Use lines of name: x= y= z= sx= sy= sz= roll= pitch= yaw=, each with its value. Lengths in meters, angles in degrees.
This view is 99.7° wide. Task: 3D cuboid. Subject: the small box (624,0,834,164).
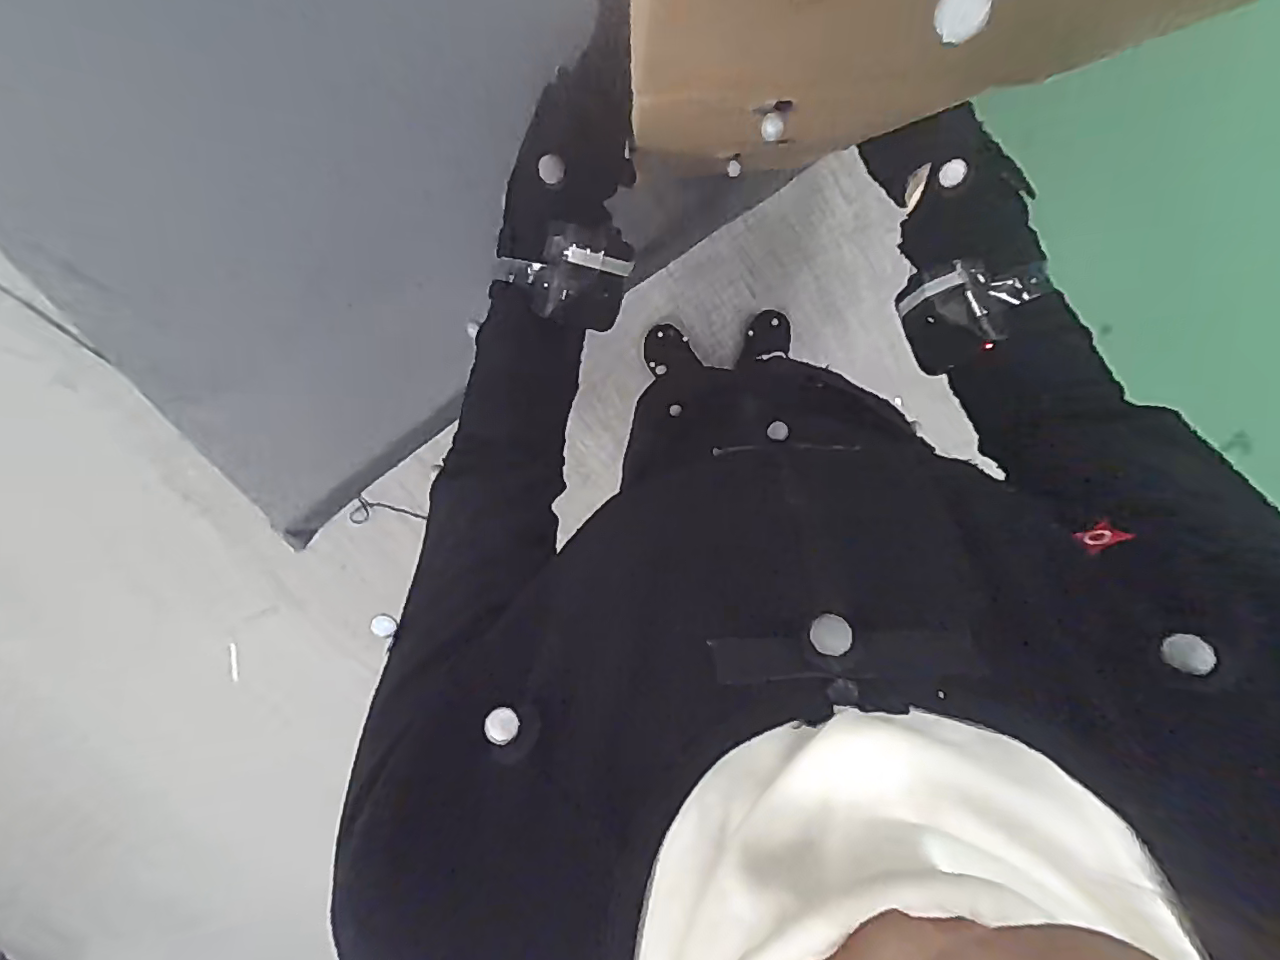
small box: x=0.077 y=-0.355 z=0.425 sx=0.179 sy=0.176 sz=0.168 roll=-5 pitch=115 yaw=0

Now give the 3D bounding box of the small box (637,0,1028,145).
small box: x=0.082 y=-0.290 z=0.277 sx=0.168 sy=0.176 sz=0.179 roll=-5 pitch=116 yaw=0

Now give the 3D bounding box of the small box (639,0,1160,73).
small box: x=0.086 y=-0.215 z=0.127 sx=0.179 sy=0.176 sz=0.168 roll=-2 pitch=116 yaw=-1
